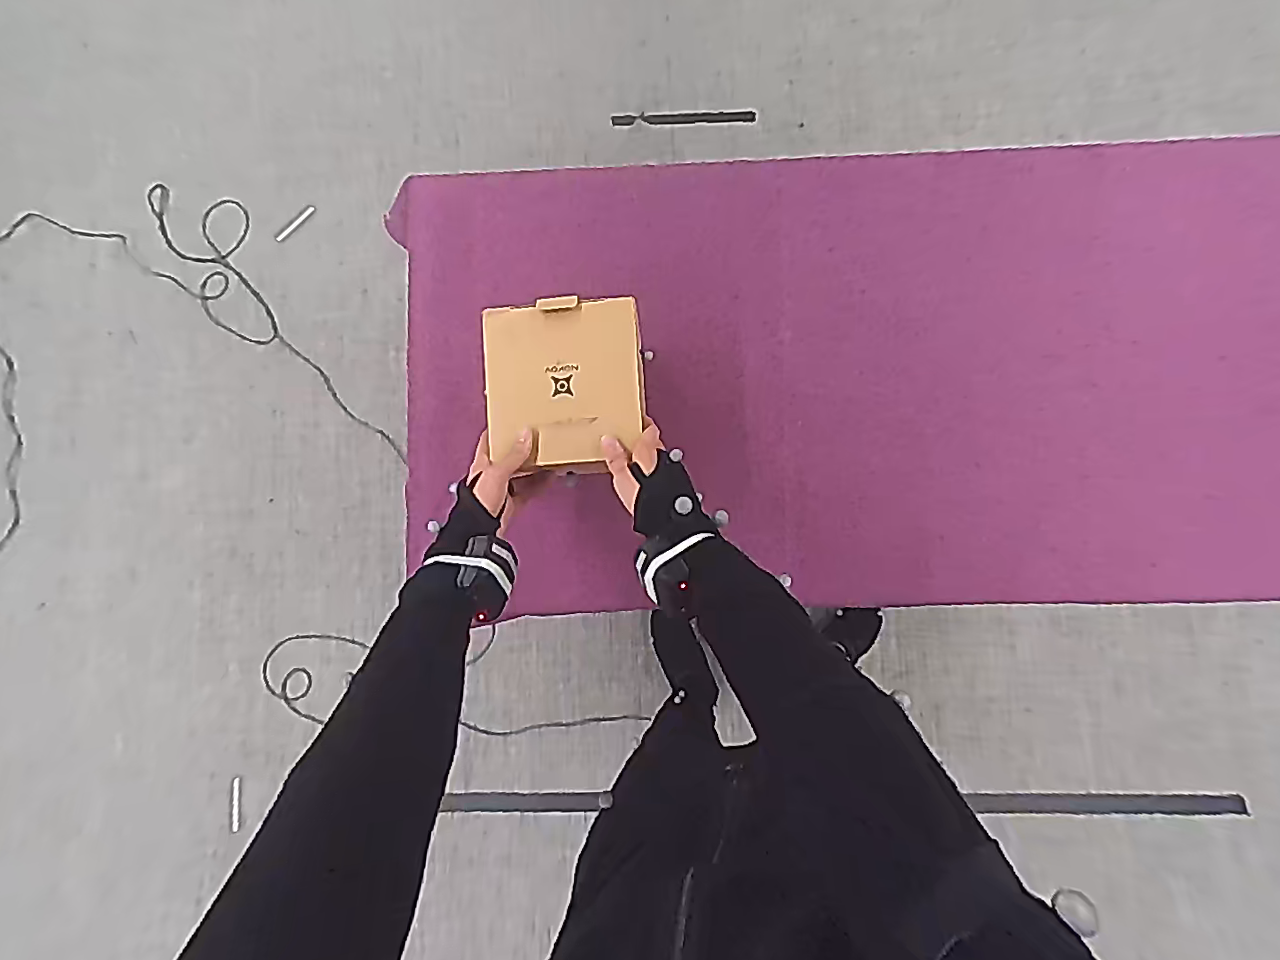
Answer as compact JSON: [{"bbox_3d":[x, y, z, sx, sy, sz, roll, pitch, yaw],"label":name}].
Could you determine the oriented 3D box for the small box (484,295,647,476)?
[{"bbox_3d":[-0.078,-0.100,0.643,0.168,0.176,0.179,-3,87,3],"label":"small box"}]
